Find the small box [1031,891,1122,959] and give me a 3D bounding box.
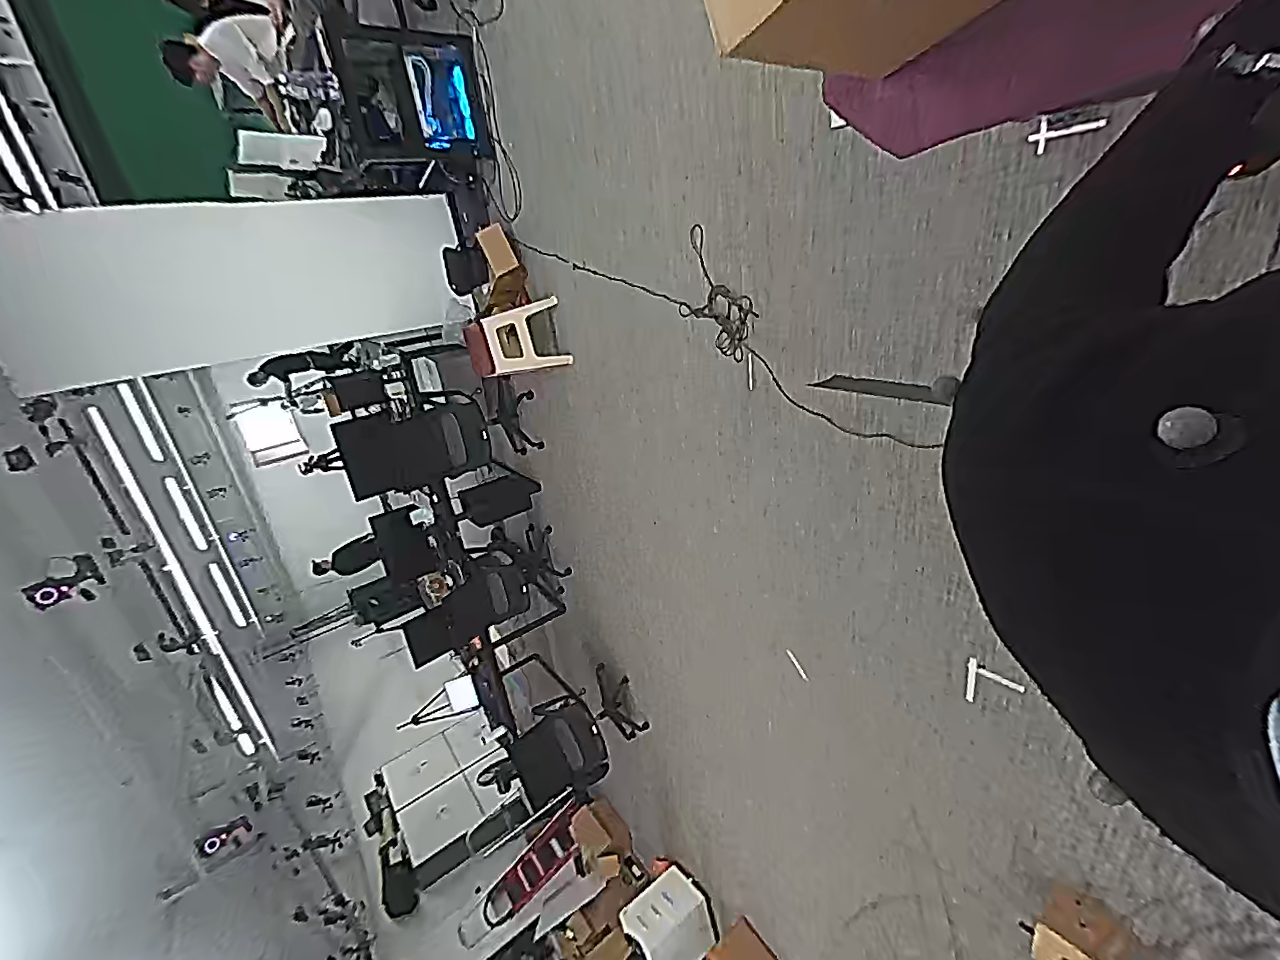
[{"bbox_3d":[1.321,1.411,1.637,0.168,0.176,0.179,20,126,51],"label":"small box"}]
